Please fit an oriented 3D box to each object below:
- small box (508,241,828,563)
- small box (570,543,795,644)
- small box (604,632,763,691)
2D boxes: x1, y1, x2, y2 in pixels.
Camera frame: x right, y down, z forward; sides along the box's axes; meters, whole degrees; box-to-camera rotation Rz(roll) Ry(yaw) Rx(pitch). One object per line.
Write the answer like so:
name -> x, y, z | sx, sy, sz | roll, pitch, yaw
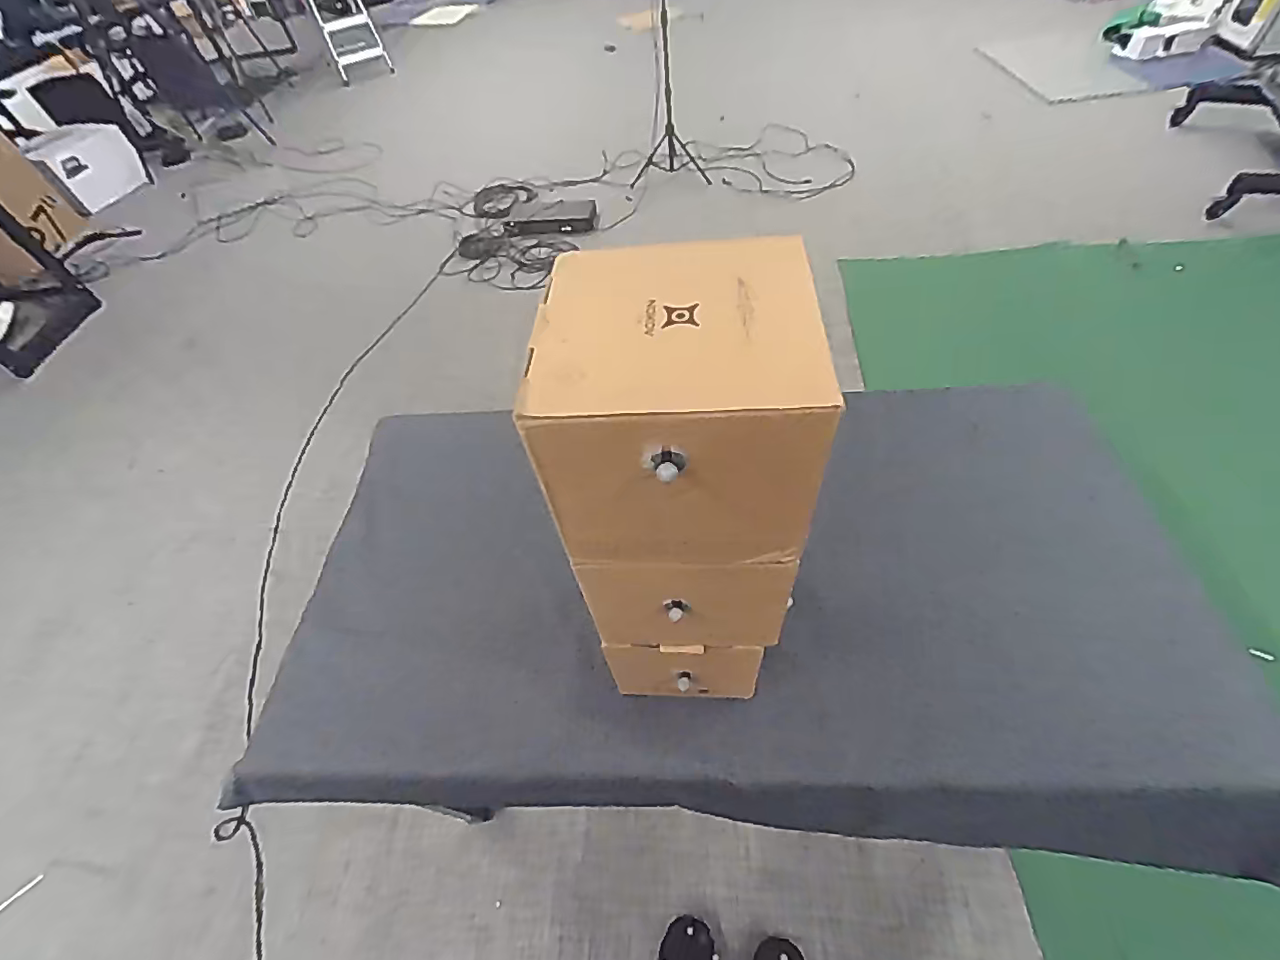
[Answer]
small box -> 0.025, -0.048, 0.398 | 0.179, 0.176, 0.168 | -2, 53, 6
small box -> 0.044, 0.051, 0.525 | 0.179, 0.176, 0.168 | -3, 52, 8
small box -> 0.058, 0.148, 0.657 | 0.168, 0.176, 0.179 | -2, 53, 7
